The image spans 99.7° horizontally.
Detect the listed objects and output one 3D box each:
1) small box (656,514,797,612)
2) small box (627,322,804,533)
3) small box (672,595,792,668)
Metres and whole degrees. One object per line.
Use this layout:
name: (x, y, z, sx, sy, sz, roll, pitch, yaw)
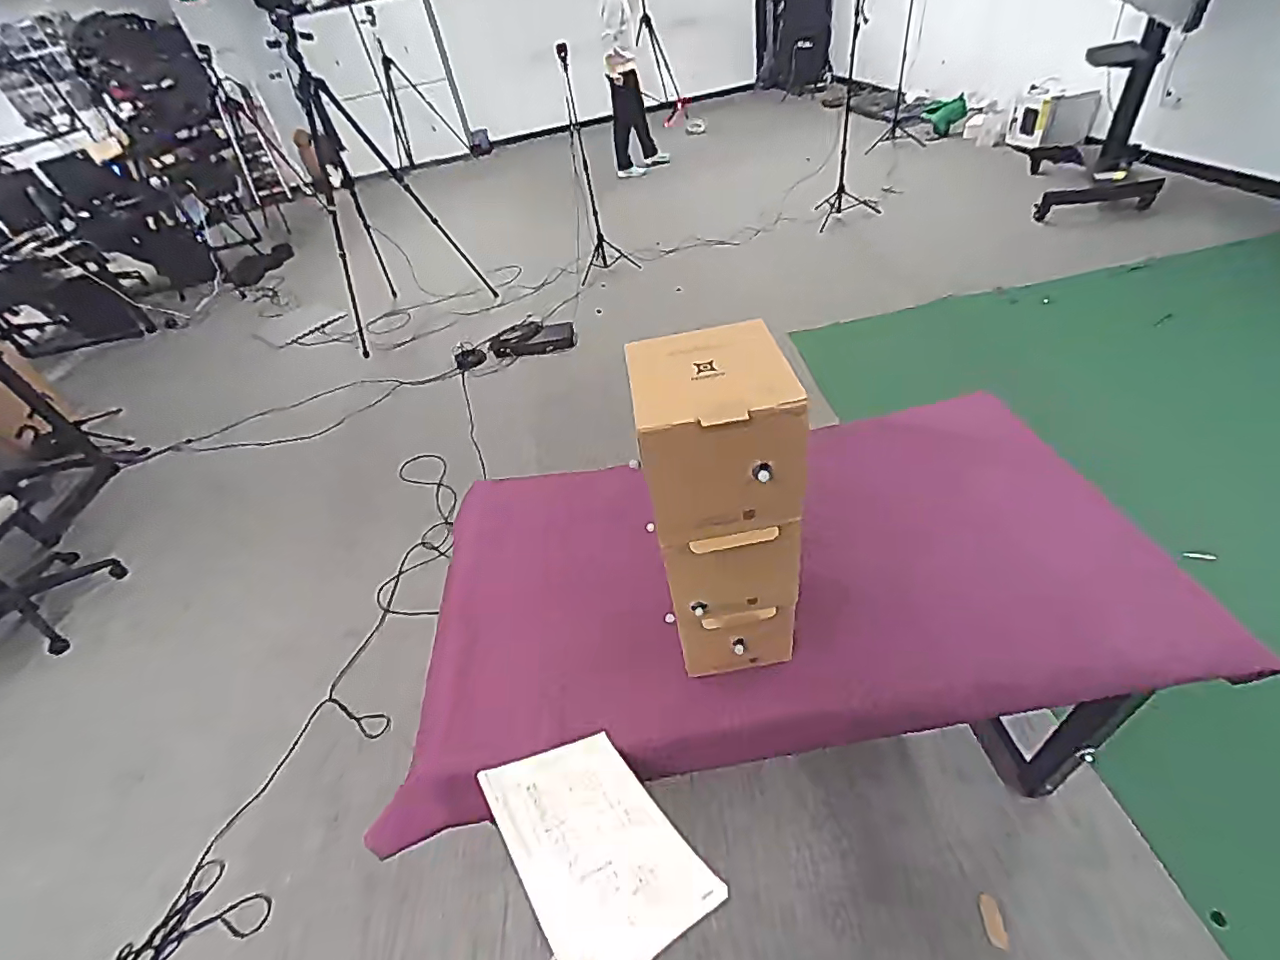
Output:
small box: (0.109, 0.061, 0.736, 0.168, 0.176, 0.179, -11, 41, 2)
small box: (0.083, -0.054, 0.624, 0.168, 0.176, 0.179, -10, 41, 2)
small box: (0.135, 0.177, 0.851, 0.168, 0.176, 0.179, -10, 42, 2)
